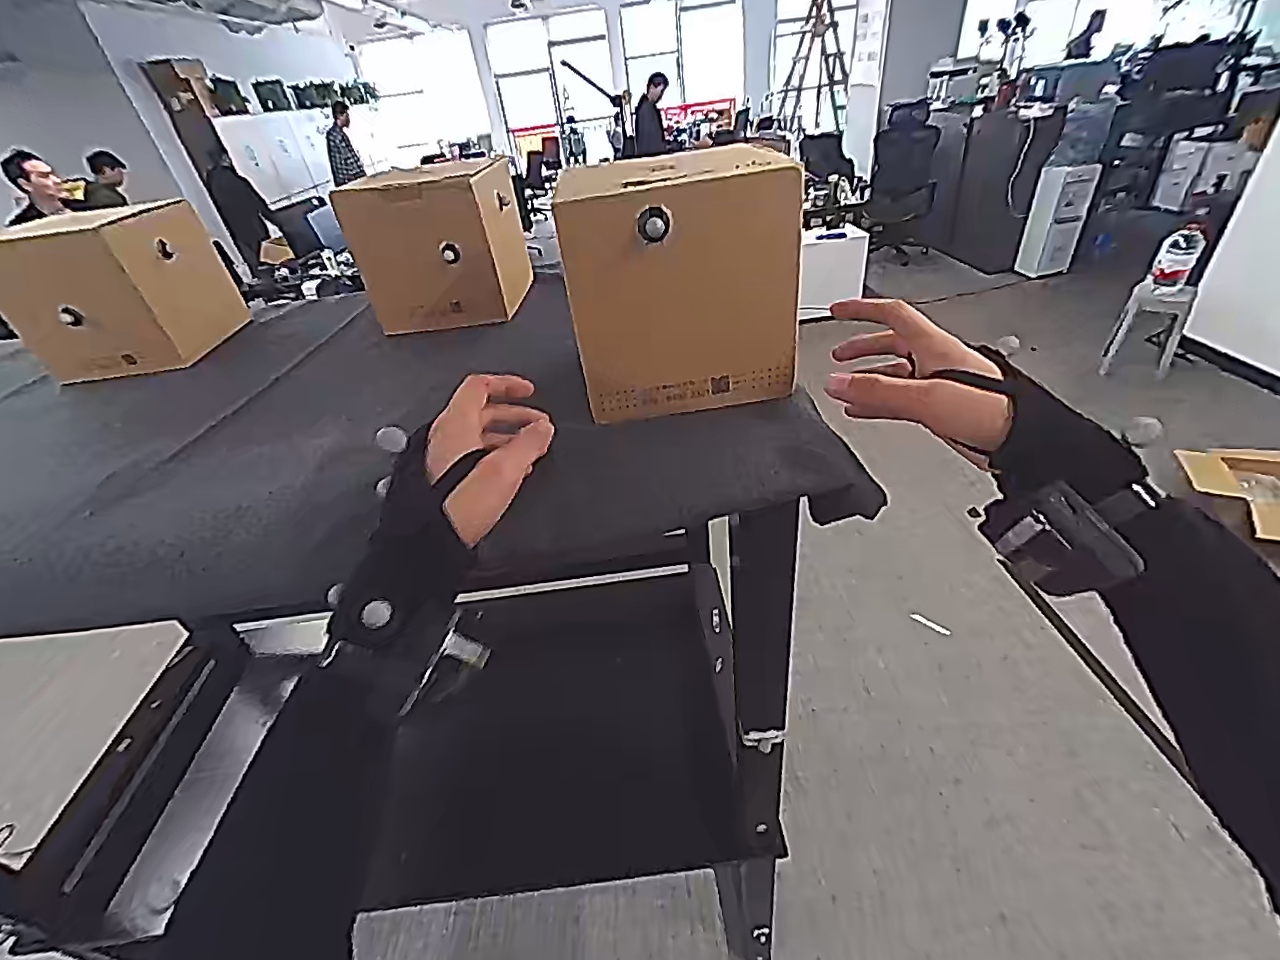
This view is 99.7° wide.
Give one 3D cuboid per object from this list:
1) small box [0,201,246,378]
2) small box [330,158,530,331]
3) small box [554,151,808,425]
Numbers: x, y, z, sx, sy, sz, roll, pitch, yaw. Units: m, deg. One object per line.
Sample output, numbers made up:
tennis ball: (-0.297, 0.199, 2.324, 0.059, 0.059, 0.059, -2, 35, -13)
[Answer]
small box: (-0.658, -0.239, 0.691, 0.168, 0.176, 0.179, -8, 37, 0)
small box: (-0.249, -0.299, 0.698, 0.168, 0.176, 0.179, -4, 36, 4)
small box: (0.030, -0.165, 0.456, 0.168, 0.176, 0.179, -9, 35, 1)
